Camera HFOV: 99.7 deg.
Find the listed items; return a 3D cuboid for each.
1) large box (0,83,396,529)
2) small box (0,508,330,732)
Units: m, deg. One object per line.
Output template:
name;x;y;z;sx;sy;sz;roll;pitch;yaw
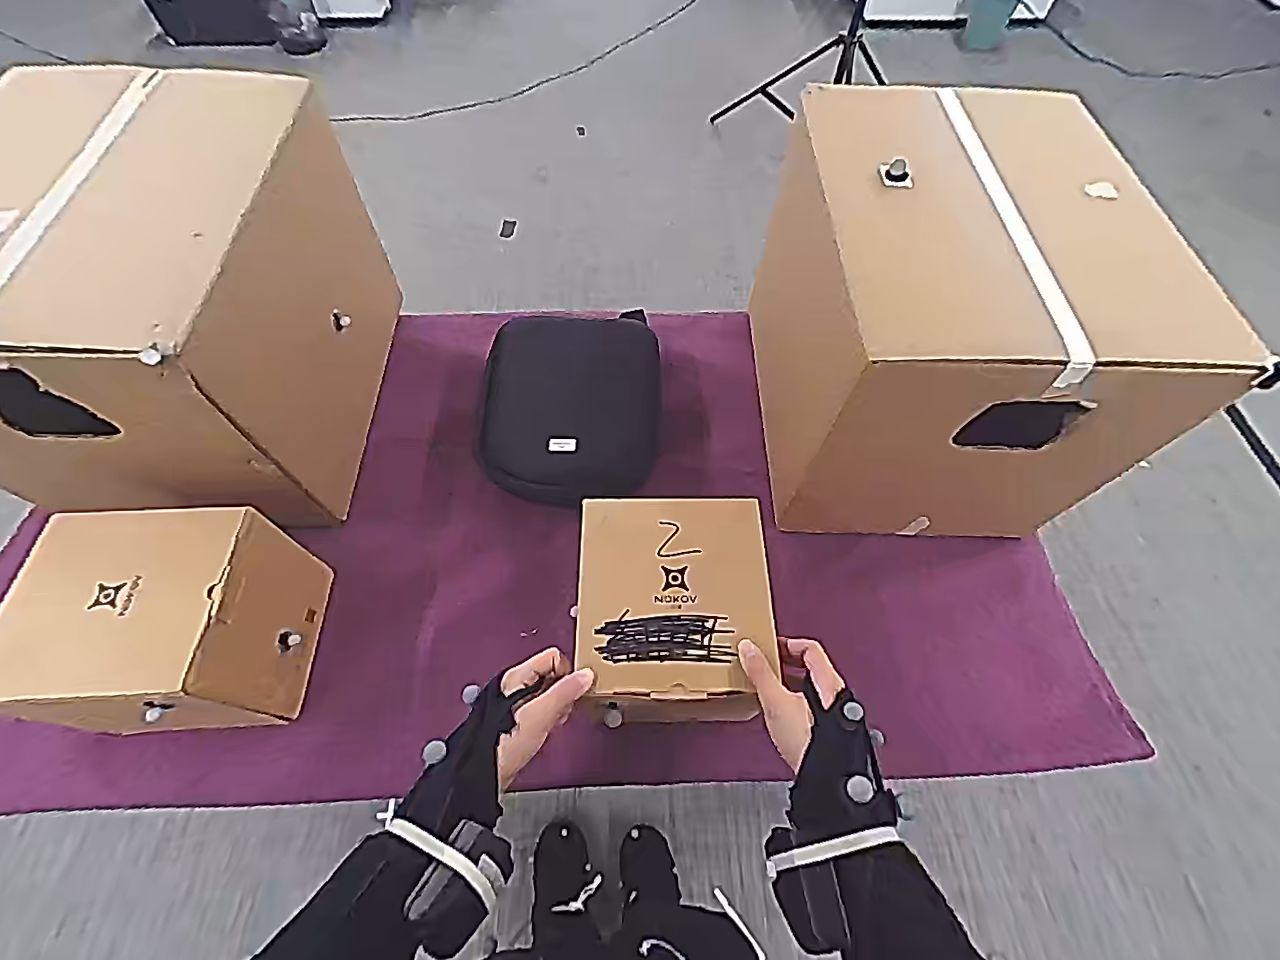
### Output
large box;-0.514;-0.182;0.631;0.320;0.320;0.408;-1;62;-3
small box;-0.444;0.142;0.525;0.179;0.176;0.168;-3;59;-4
